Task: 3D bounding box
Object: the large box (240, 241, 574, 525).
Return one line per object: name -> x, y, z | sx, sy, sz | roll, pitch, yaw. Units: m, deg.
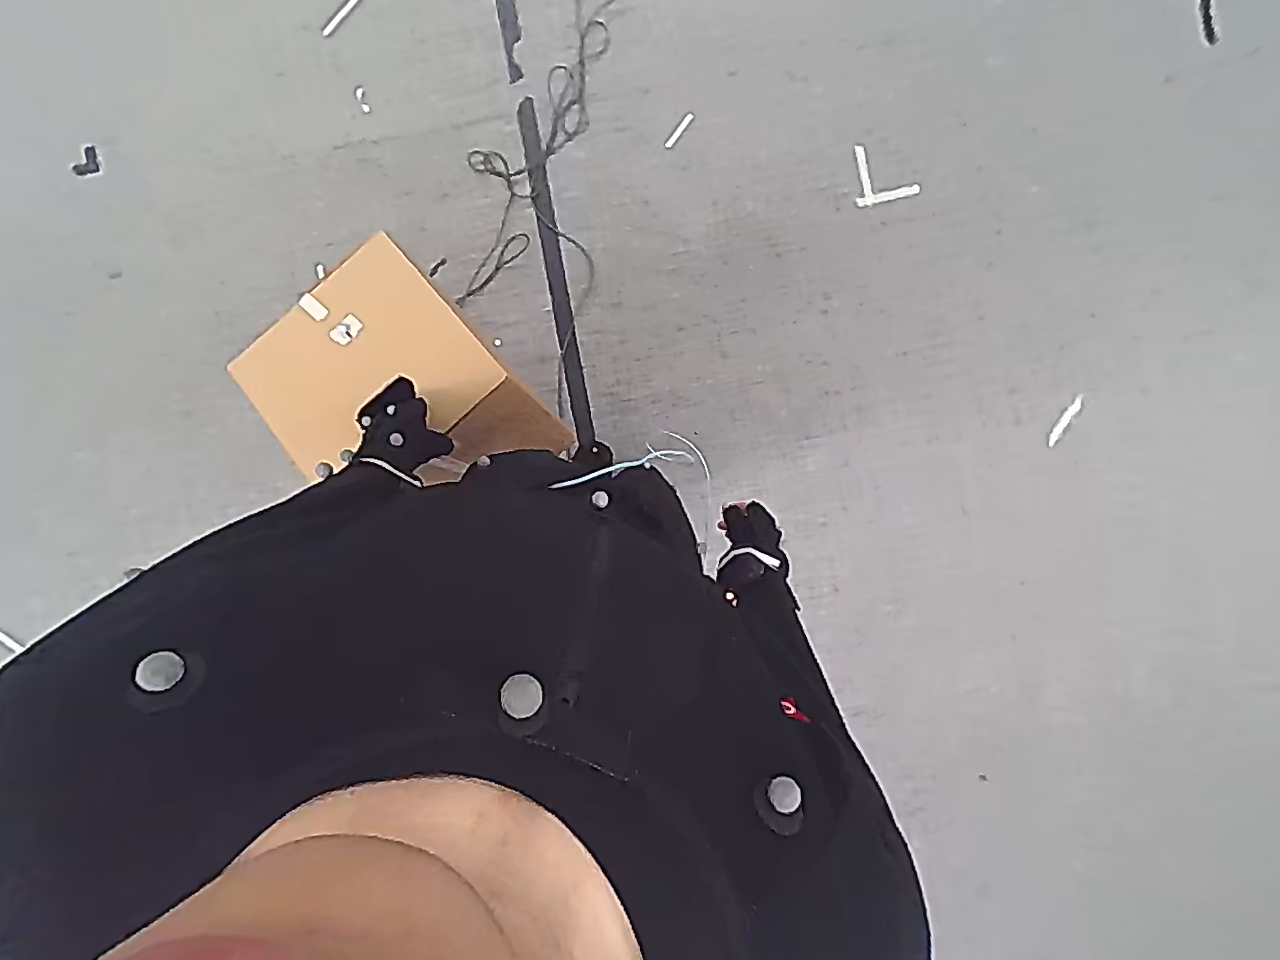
large box -> -0.376, -0.135, 0.978 | 0.320, 0.408, 0.320 | -41, 80, 1
